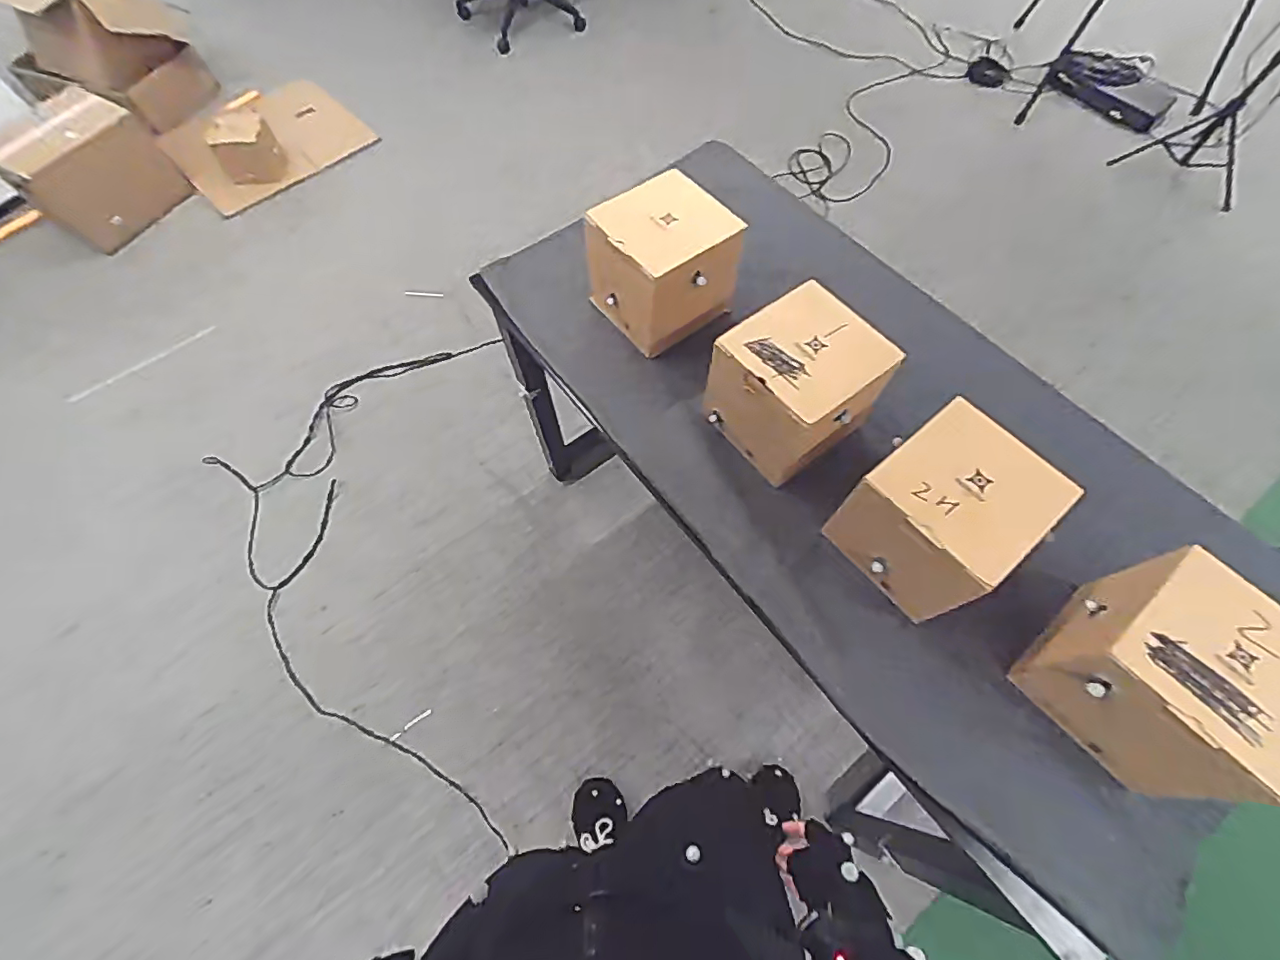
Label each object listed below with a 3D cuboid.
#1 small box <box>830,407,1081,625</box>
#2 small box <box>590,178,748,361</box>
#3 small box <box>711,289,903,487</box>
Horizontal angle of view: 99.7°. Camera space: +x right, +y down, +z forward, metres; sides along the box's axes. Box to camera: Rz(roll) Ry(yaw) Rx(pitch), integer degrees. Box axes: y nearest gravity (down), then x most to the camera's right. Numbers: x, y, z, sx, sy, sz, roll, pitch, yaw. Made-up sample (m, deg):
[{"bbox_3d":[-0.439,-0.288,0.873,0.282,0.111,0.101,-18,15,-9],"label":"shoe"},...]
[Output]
[{"bbox_3d":[0.366,0.050,0.664,0.179,0.176,0.168,-36,69,-17],"label":"small box"},{"bbox_3d":[0.038,-0.324,0.850,0.179,0.176,0.168,-36,70,-17],"label":"small box"},{"bbox_3d":[0.213,-0.119,0.748,0.179,0.176,0.168,-34,69,-16],"label":"small box"}]
